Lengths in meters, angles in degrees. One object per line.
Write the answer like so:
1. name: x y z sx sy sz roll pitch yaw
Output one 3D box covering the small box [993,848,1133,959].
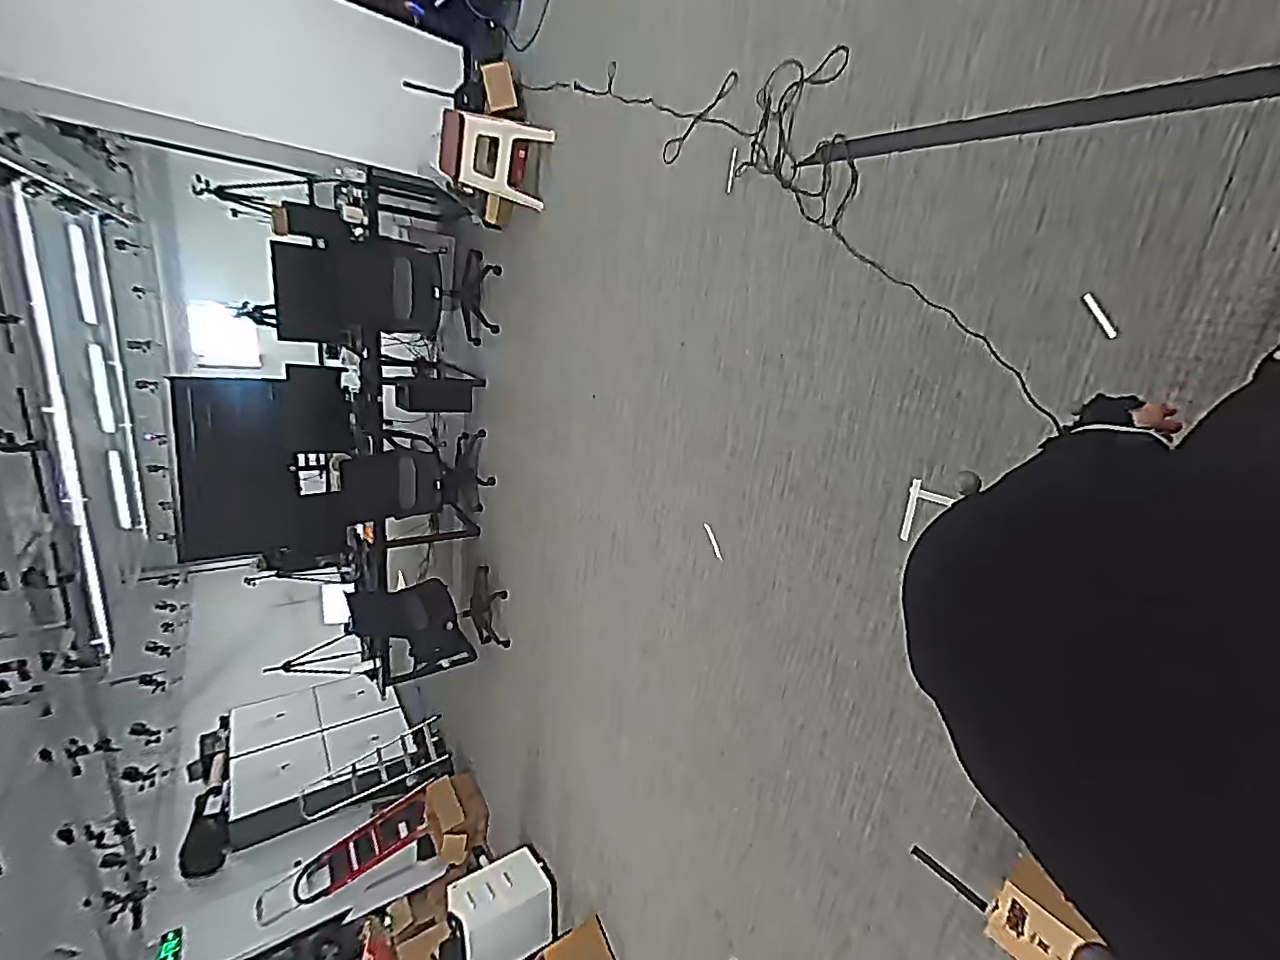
1. small box: 0.927 0.957 1.188 0.179 0.176 0.168 28 117 48
